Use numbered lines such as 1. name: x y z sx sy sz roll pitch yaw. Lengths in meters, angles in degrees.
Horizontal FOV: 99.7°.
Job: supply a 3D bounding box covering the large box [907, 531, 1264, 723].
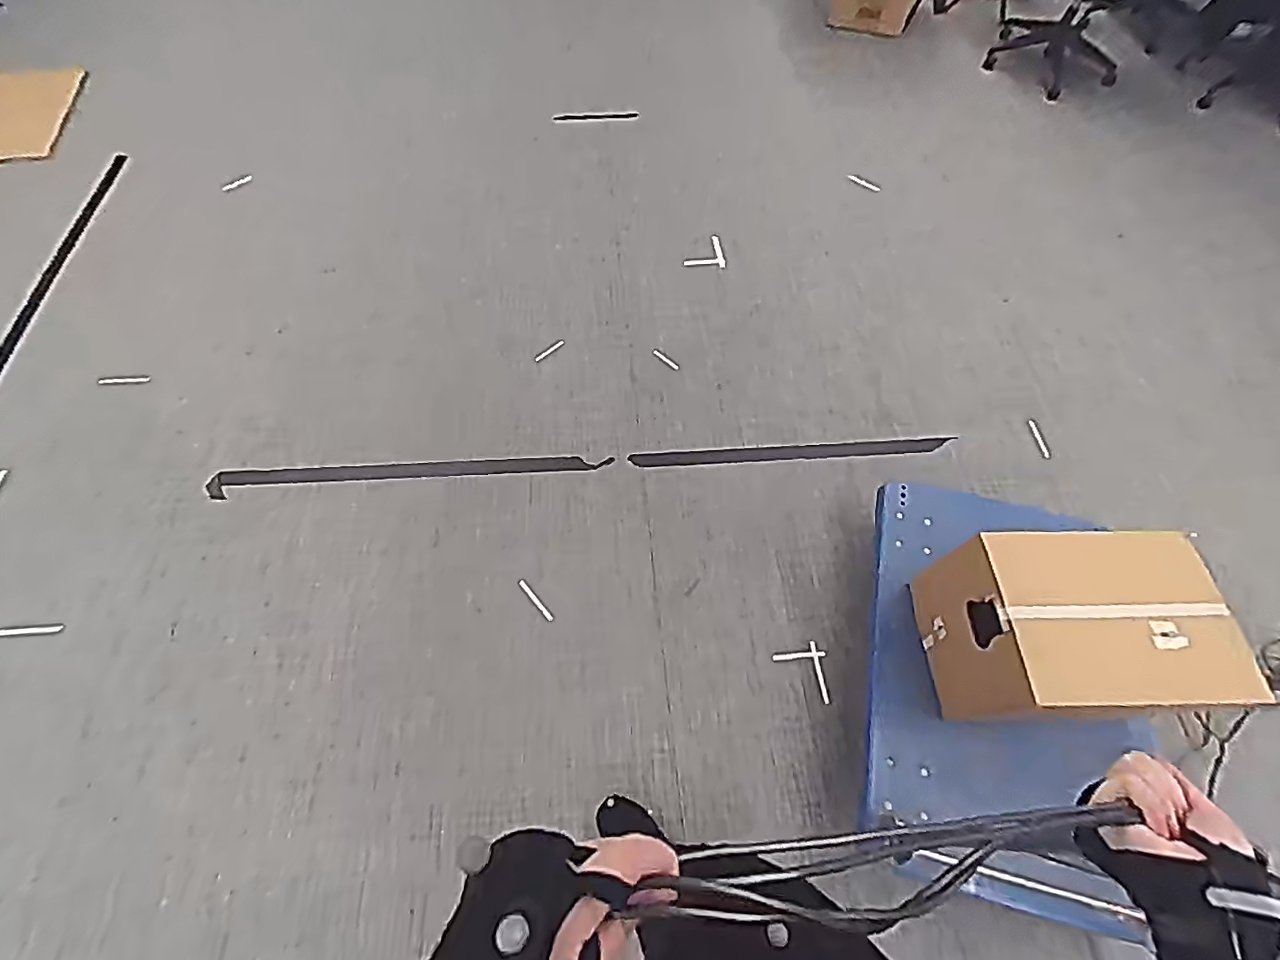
1. large box: 0.837 0.306 1.095 0.408 0.320 0.320 0 62 -2
